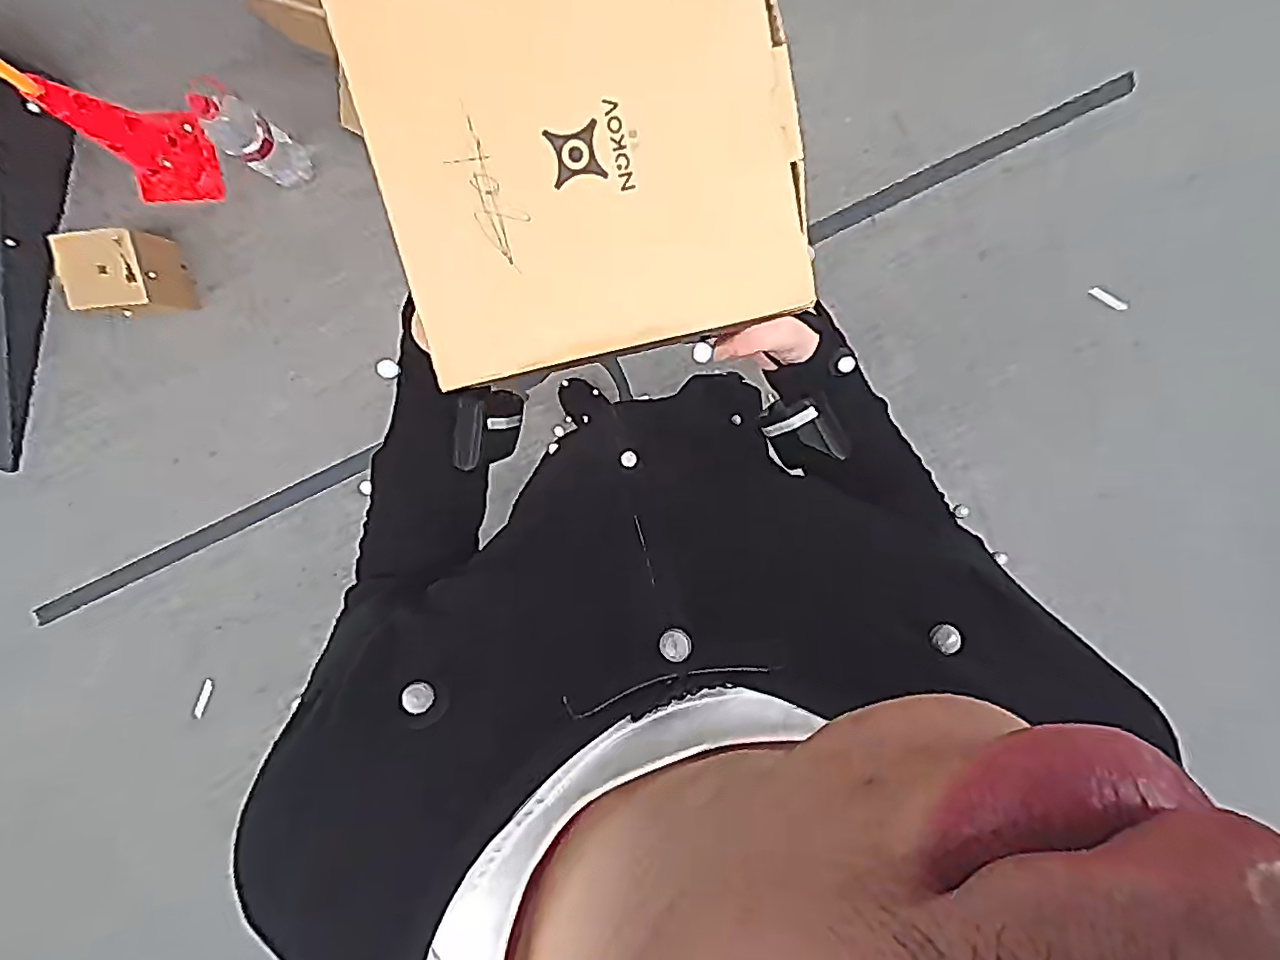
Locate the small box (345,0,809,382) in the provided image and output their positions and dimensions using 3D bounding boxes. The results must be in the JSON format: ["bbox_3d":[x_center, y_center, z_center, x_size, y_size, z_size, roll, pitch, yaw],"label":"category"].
[{"bbox_3d":[-0.024,-0.158,0.316,0.179,0.176,0.168,-13,101,1],"label":"small box"}]
